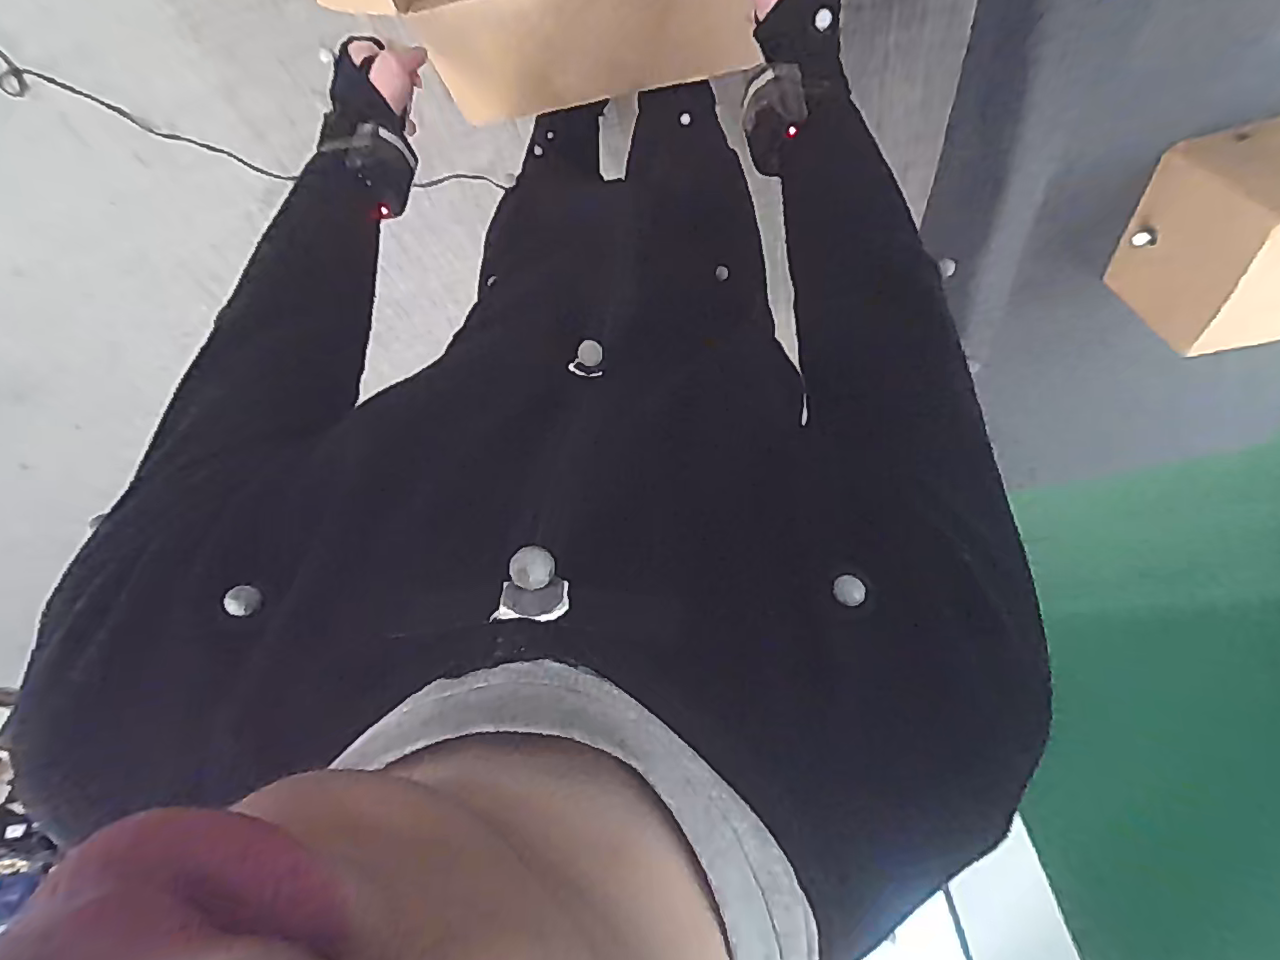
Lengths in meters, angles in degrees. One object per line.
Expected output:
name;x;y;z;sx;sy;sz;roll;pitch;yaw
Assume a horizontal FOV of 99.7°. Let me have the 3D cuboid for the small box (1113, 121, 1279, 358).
small box;0.690;-0.271;0.607;0.168;0.176;0.179;-11;142;9
